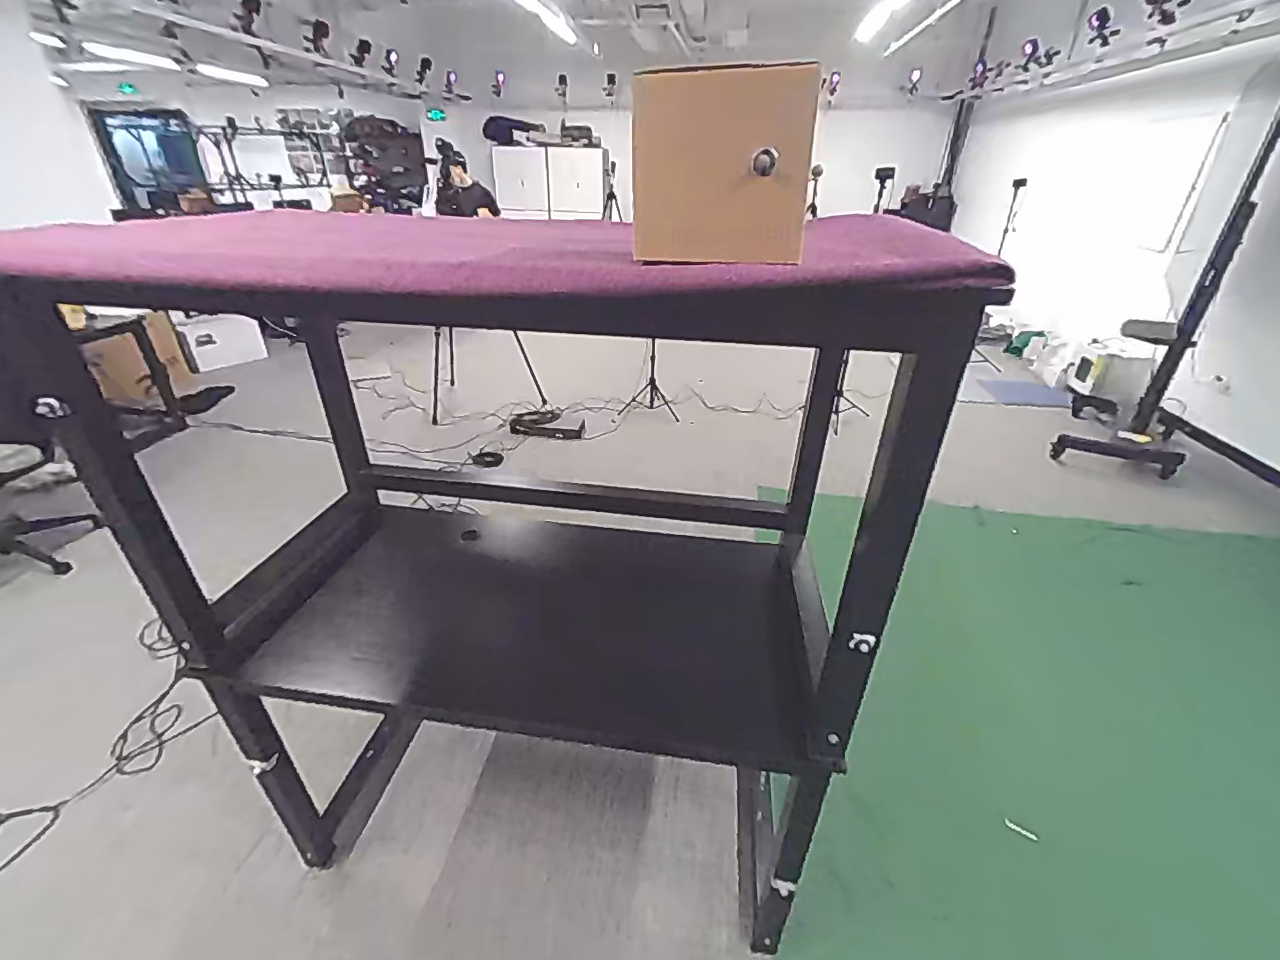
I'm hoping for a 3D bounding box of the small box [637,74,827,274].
[{"bbox_3d":[0.099,-0.326,0.598,0.179,0.176,0.168,6,26,12],"label":"small box"}]
